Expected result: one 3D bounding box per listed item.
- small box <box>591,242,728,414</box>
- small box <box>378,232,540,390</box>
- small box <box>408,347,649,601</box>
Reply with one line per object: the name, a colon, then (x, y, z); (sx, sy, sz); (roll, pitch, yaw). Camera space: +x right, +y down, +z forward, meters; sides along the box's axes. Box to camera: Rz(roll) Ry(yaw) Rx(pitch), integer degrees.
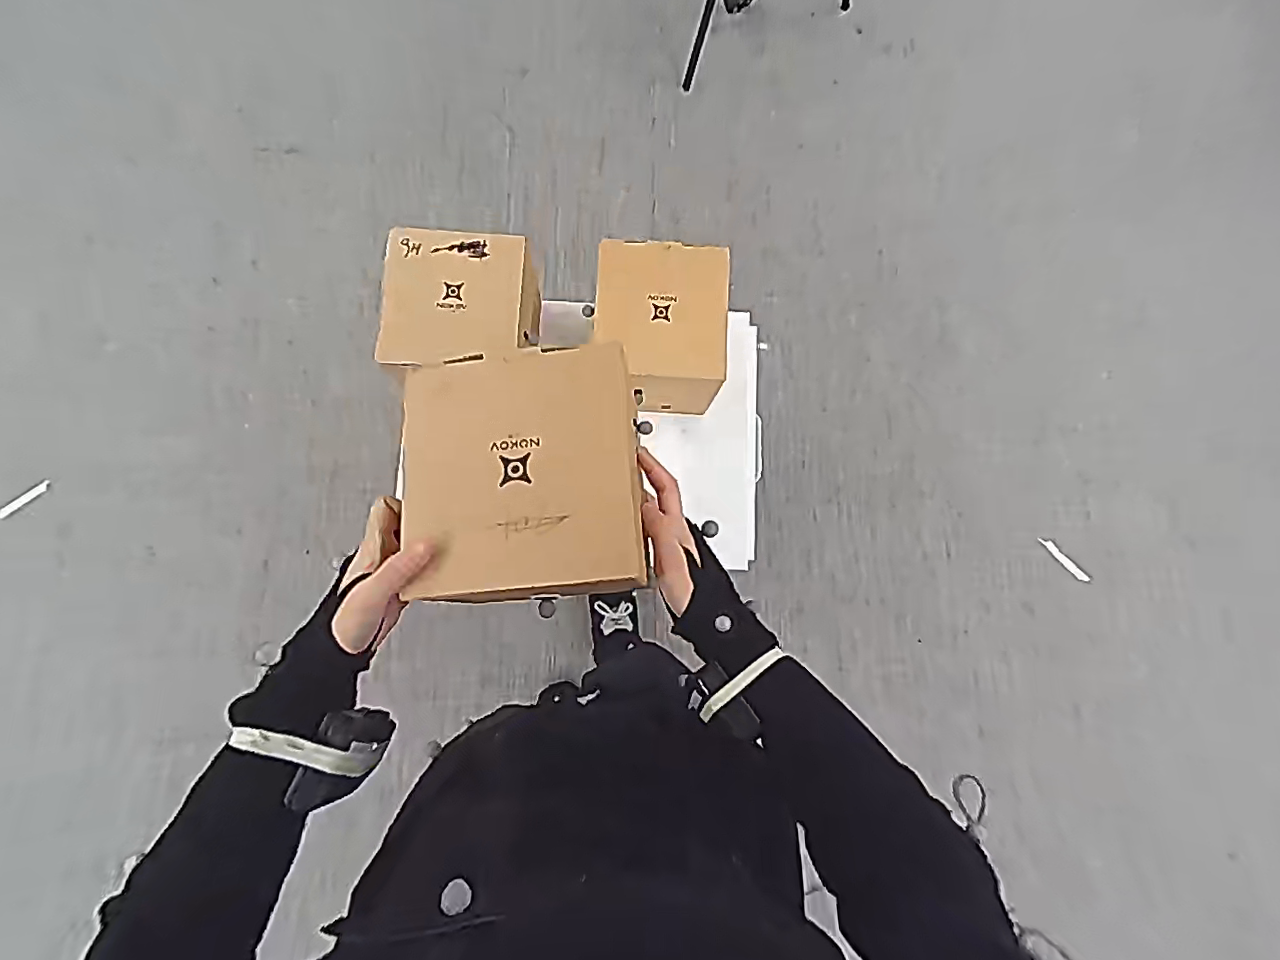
small box: (0.022, -0.195, 0.740); (0.168, 0.176, 0.179); (3, 81, -2)
small box: (-0.229, -0.202, 0.727); (0.168, 0.176, 0.179); (3, 83, -4)
small box: (-0.082, 0.008, 0.469); (0.168, 0.176, 0.179); (-6, 76, 2)
